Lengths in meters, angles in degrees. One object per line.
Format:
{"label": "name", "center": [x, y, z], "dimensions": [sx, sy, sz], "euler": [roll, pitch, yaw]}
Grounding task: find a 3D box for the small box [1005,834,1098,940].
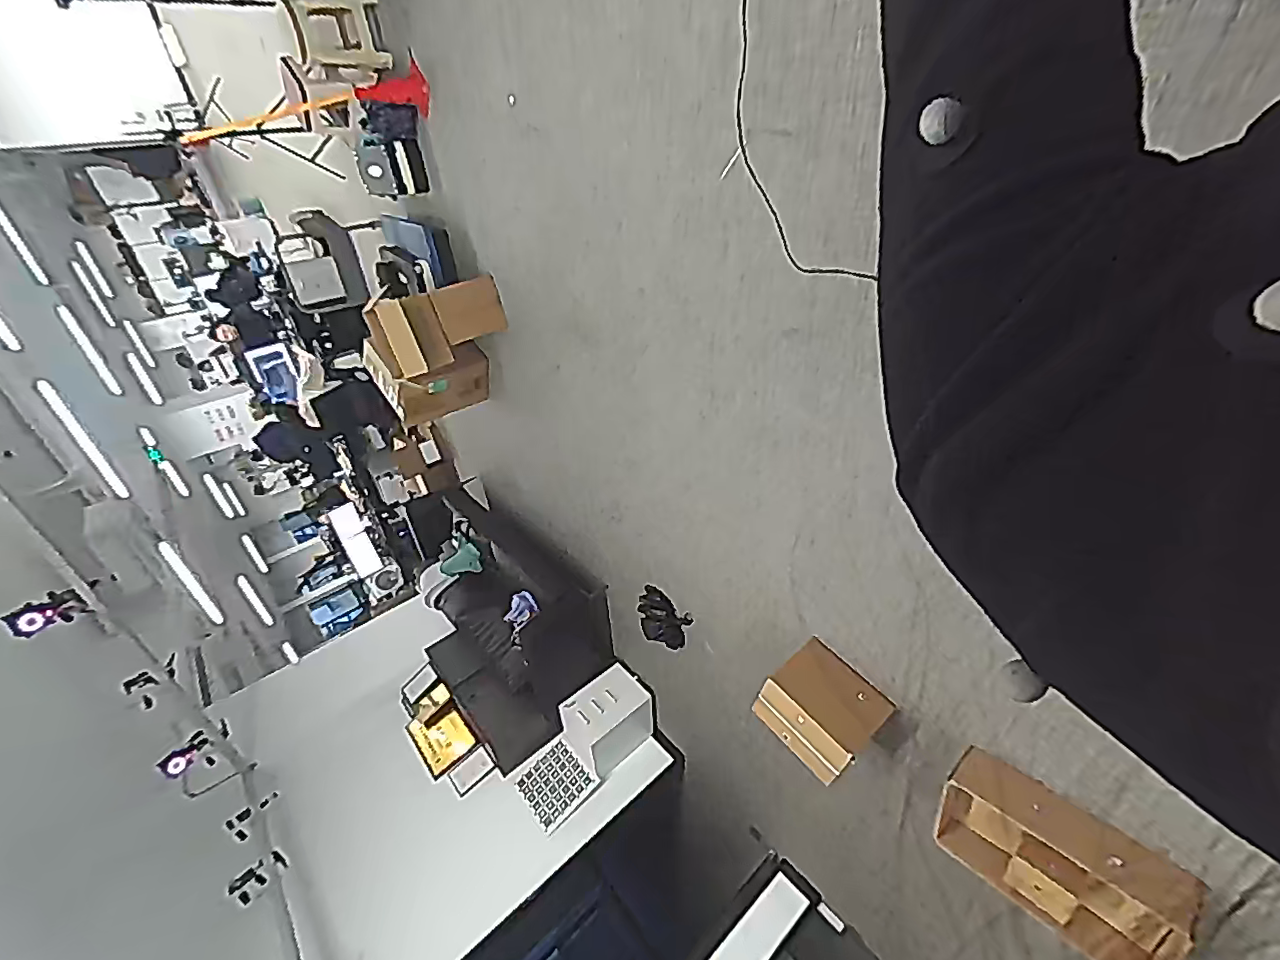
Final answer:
{"label": "small box", "center": [1.296, 1.272, 1.702], "dimensions": [0.179, 0.176, 0.168], "euler": [27, 134, 46]}
